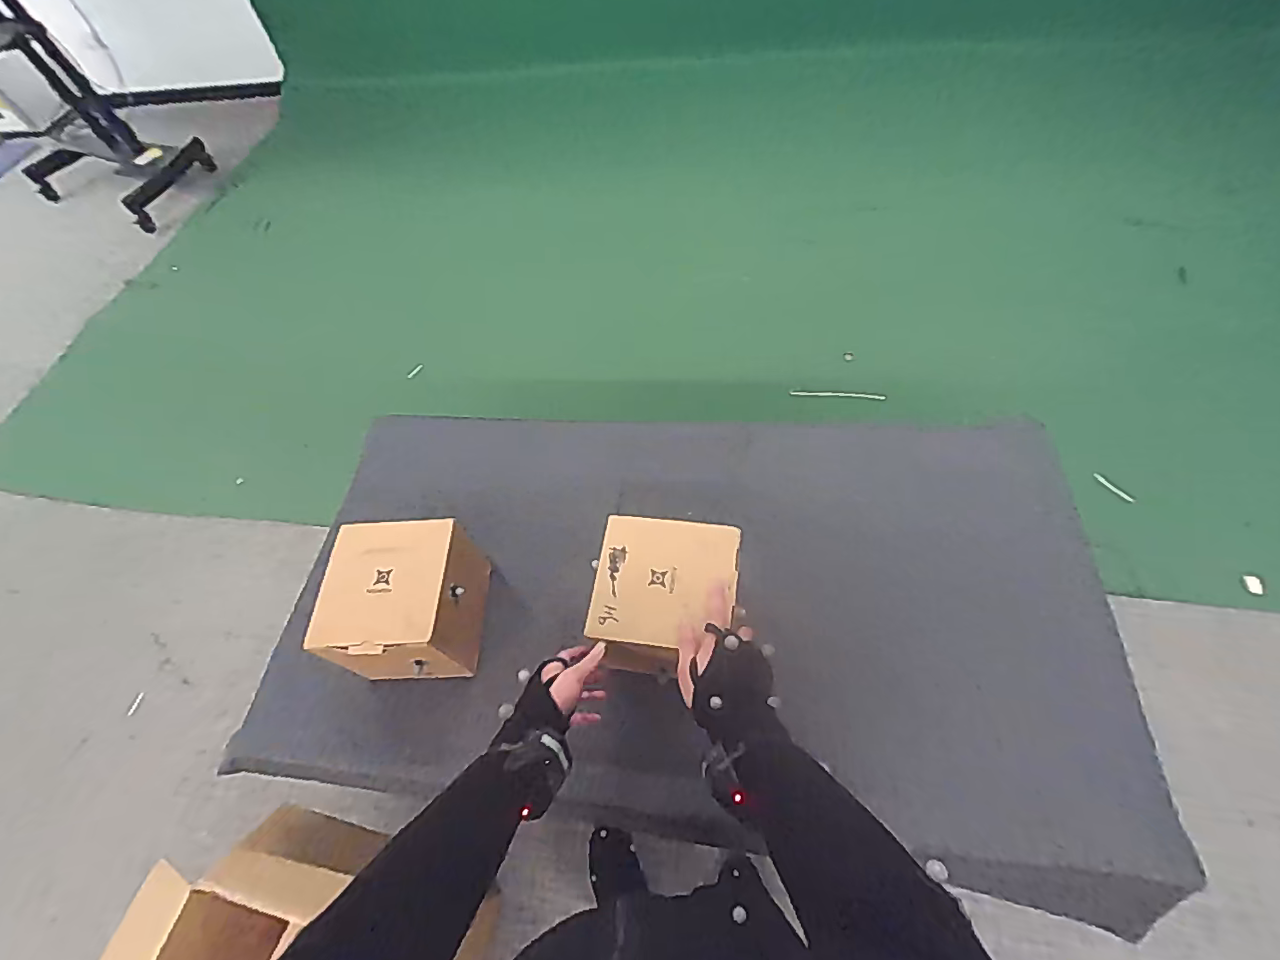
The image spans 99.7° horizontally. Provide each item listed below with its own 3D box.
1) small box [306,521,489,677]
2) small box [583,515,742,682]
[{"bbox_3d":[-0.329,0.178,0.777,0.168,0.176,0.179,-3,56,4],"label":"small box"},{"bbox_3d":[0.038,0.166,0.734,0.179,0.176,0.168,6,59,9],"label":"small box"}]
